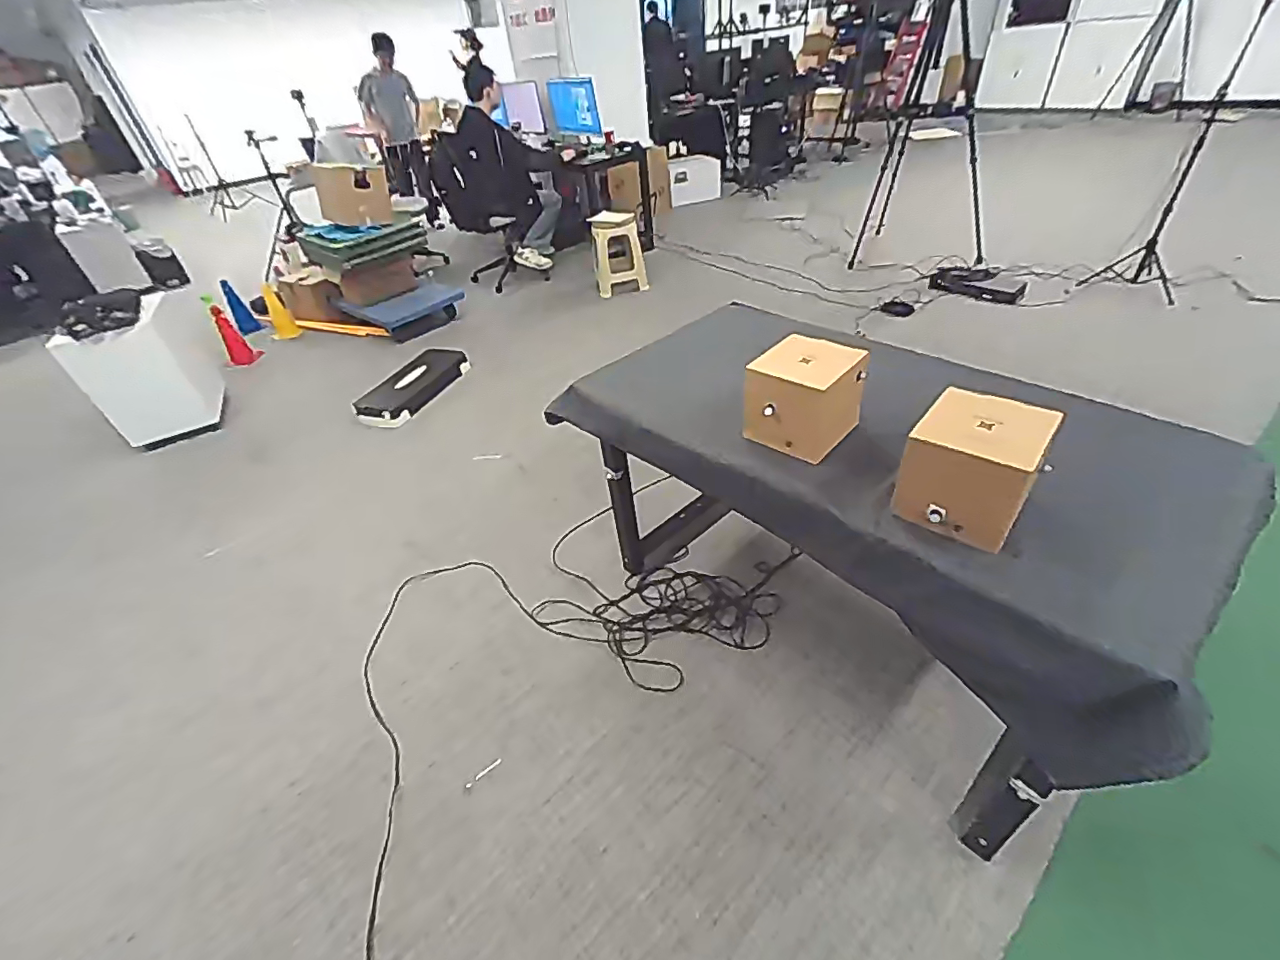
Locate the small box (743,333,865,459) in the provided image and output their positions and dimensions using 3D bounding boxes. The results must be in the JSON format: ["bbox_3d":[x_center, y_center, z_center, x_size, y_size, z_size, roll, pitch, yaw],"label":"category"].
[{"bbox_3d":[0.320,-0.166,1.070,0.168,0.176,0.179,27,49,34],"label":"small box"}]

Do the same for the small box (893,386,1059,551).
[{"bbox_3d":[0.526,-0.022,0.864,0.168,0.176,0.179,24,49,34],"label":"small box"}]
